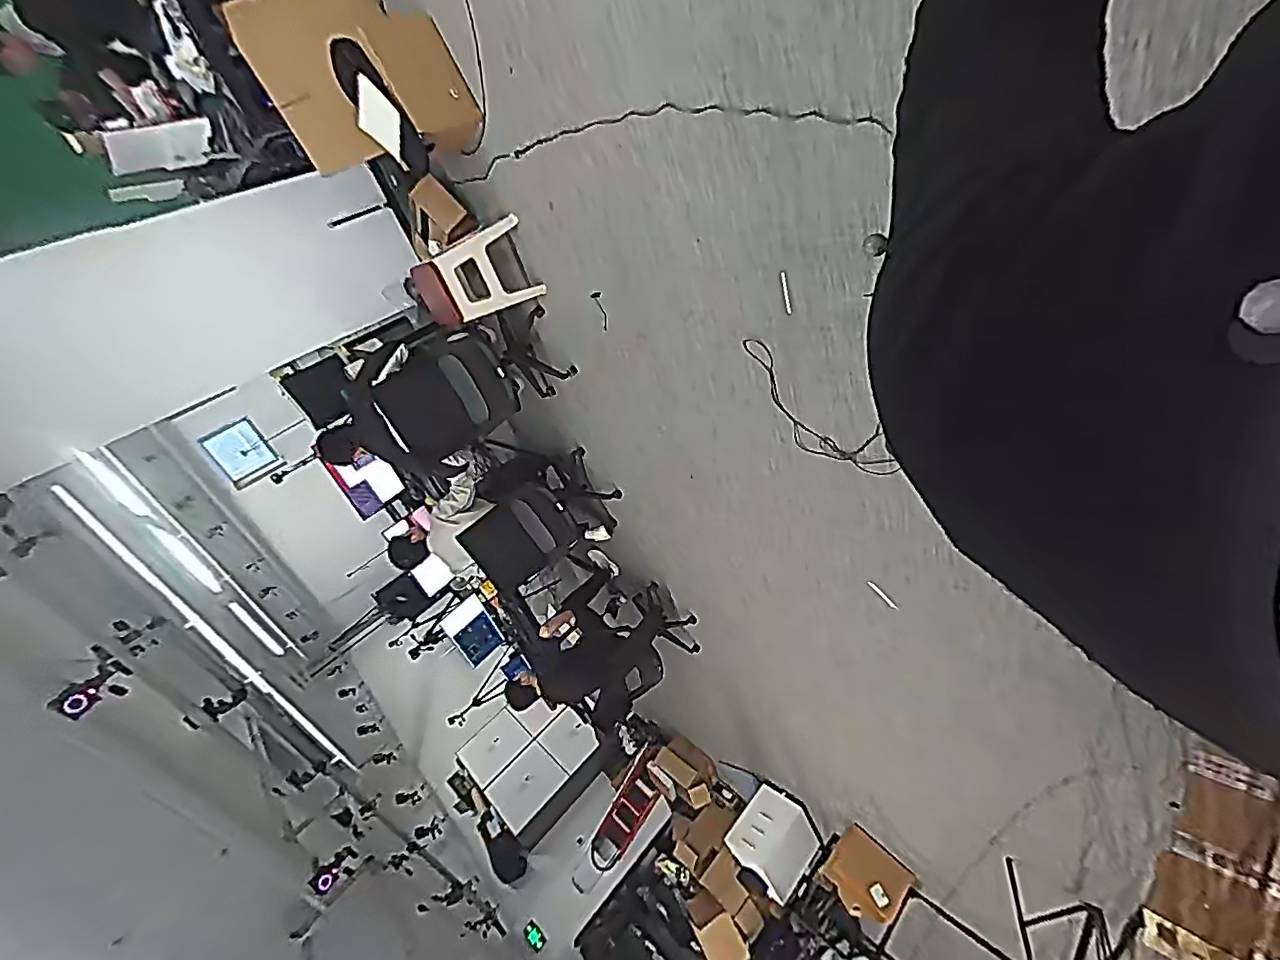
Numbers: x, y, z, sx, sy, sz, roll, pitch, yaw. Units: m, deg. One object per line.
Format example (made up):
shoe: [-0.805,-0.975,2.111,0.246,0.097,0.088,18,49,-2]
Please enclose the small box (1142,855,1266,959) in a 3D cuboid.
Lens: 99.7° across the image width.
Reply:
small box: [1.320,1.032,1.270,0.179,0.176,0.168,10,129,52]
